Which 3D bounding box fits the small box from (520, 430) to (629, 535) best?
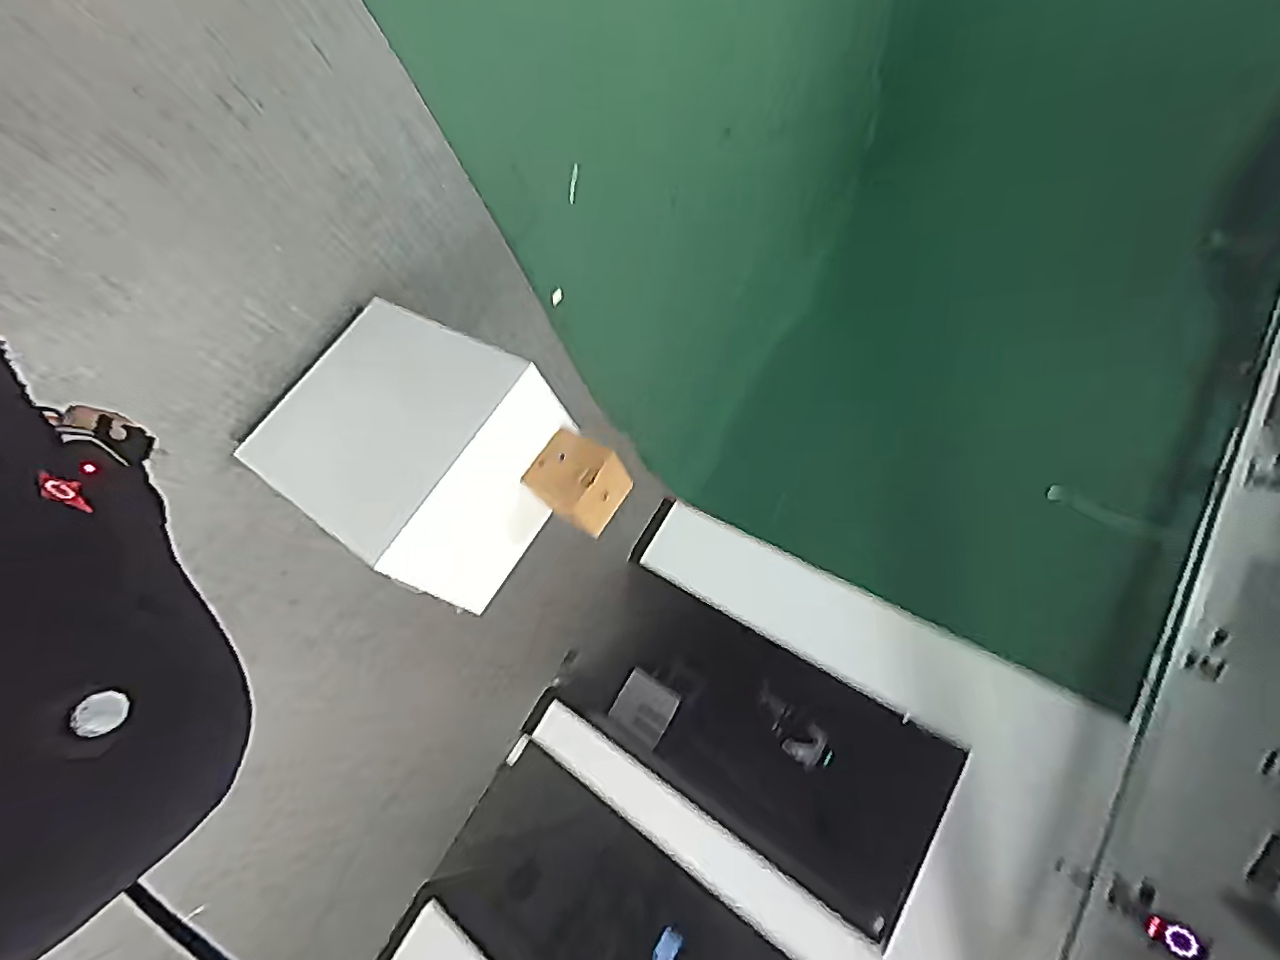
[{"bbox_3d":[-0.158,0.003,1.320,0.168,0.176,0.179,-55,152,-14],"label":"small box"}]
